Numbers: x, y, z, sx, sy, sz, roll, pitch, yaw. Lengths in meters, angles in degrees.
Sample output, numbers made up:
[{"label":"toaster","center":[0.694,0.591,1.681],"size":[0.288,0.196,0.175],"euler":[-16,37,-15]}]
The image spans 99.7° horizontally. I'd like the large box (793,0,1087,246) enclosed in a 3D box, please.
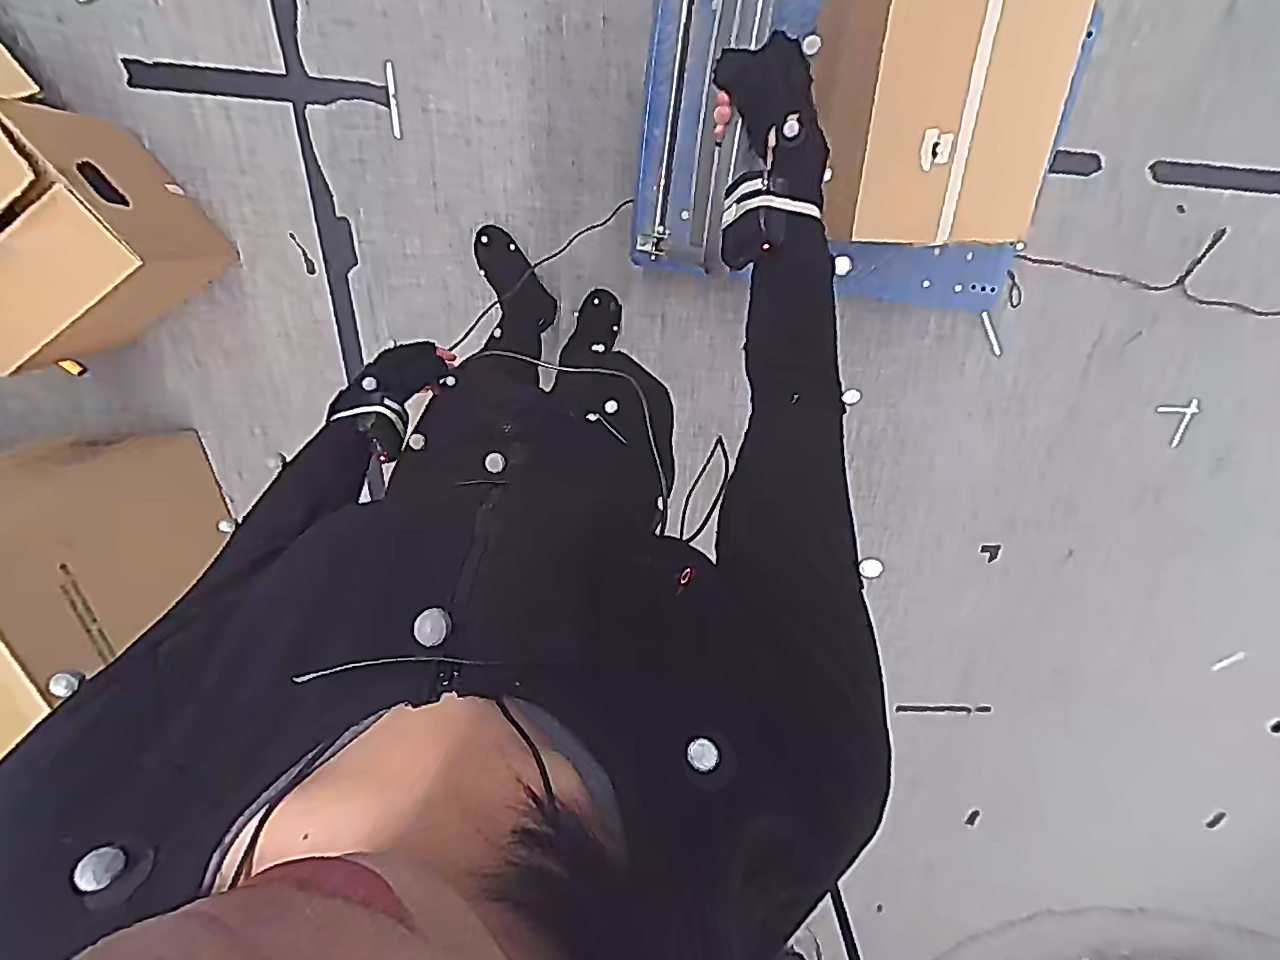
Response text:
[{"label":"large box","center":[0.495,-0.650,0.976],"size":[0.320,0.320,0.408],"euler":[-1,116,-4]}]
